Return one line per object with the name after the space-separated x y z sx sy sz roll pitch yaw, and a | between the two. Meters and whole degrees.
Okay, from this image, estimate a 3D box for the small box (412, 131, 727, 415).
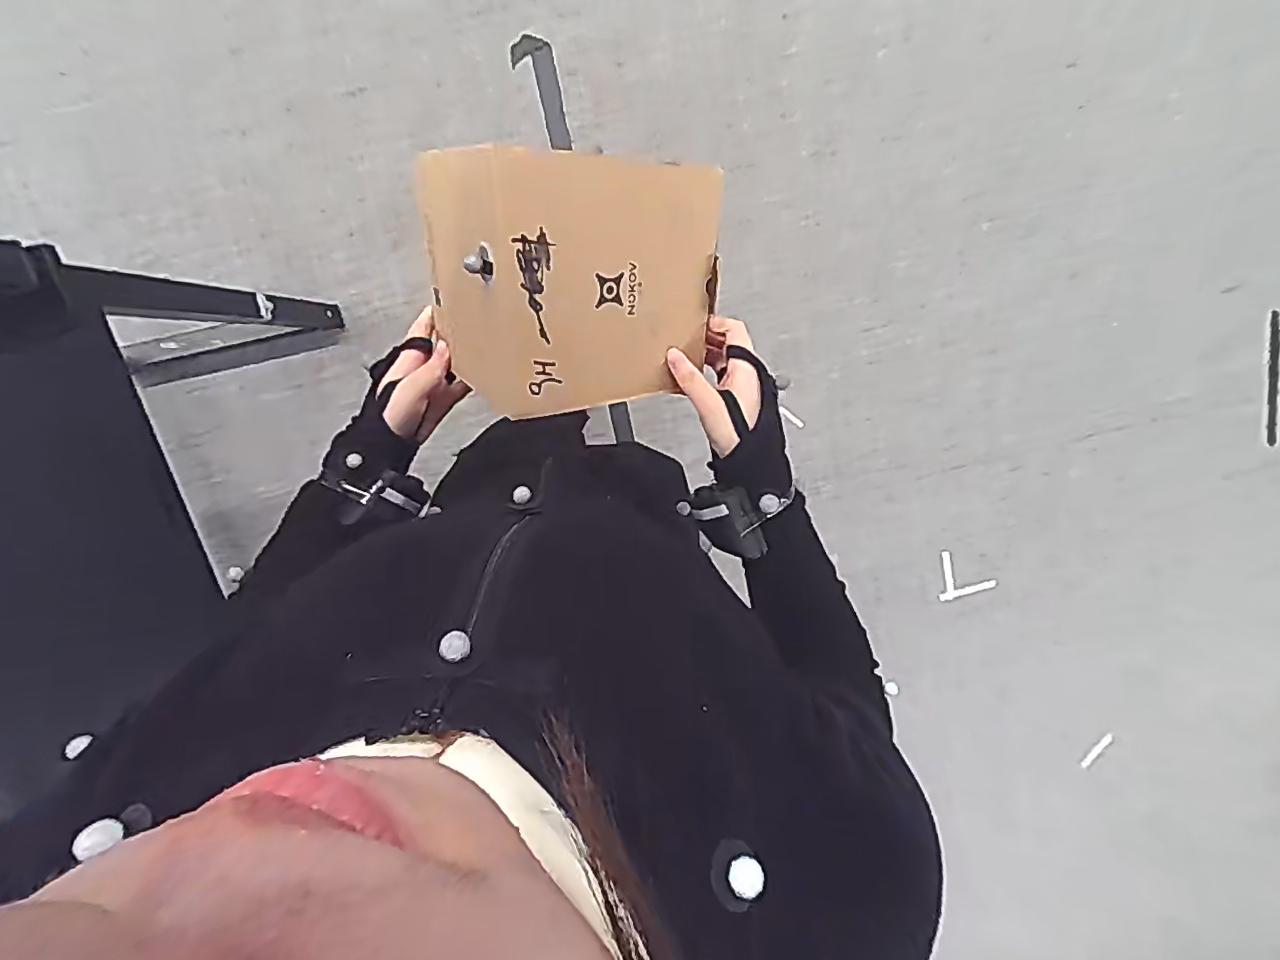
-0.060 -0.165 0.427 0.179 0.176 0.168 -15 122 -32 | small box
